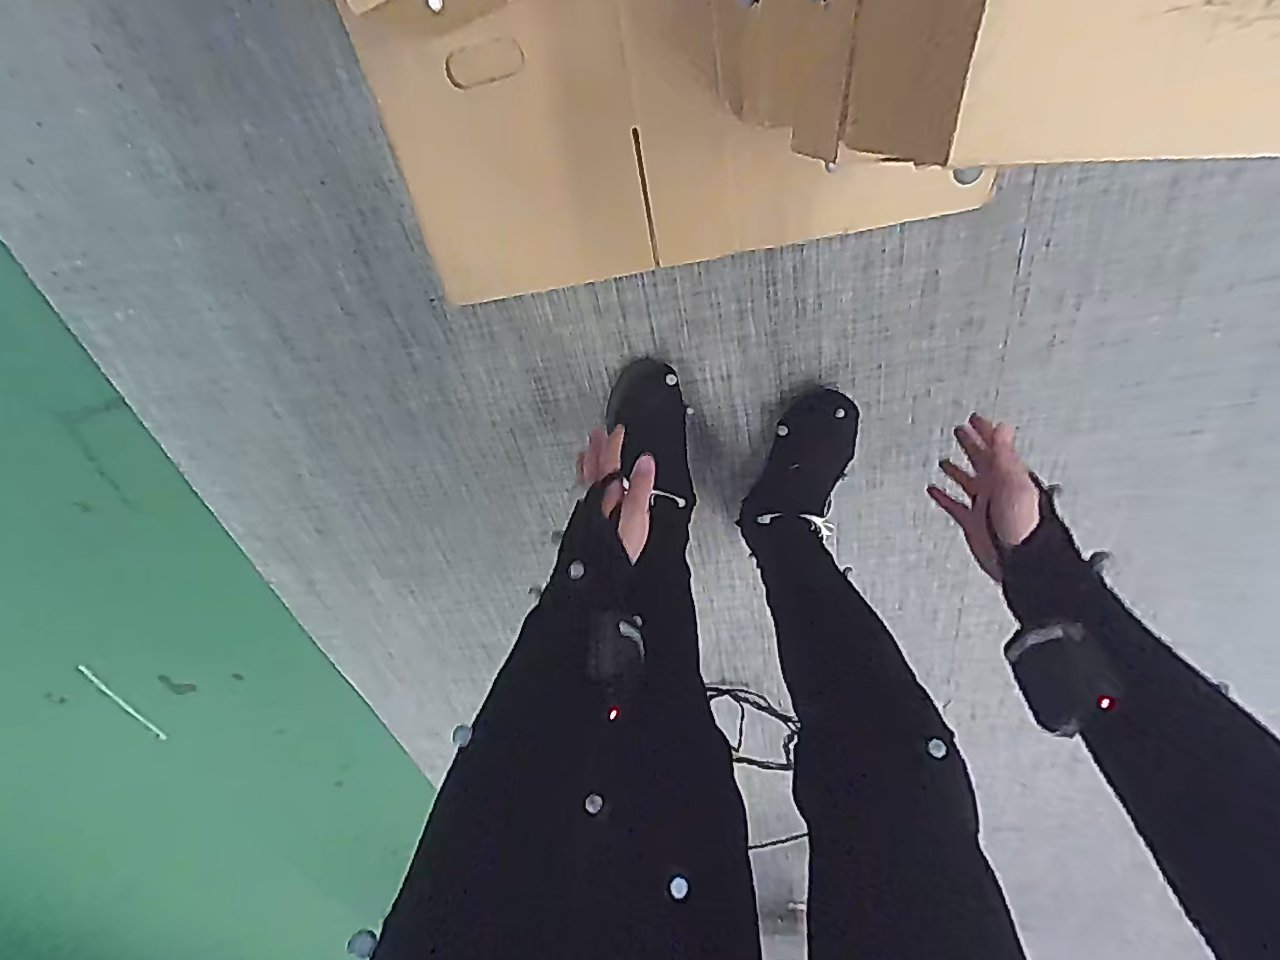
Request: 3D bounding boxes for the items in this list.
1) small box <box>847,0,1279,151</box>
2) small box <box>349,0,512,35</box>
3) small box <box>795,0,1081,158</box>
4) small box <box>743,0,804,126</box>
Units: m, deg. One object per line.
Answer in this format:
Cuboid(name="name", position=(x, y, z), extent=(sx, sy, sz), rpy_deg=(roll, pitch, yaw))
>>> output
Cuboid(name="small box", position=(0.195, -0.235, 0.214), extent=(0.168, 0.176, 0.179), rpy_deg=(1, 123, 5))
Cuboid(name="small box", position=(-0.183, -0.519, 0.452), extent=(0.168, 0.176, 0.179), rpy_deg=(-14, 121, 13))
Cuboid(name="small box", position=(0.204, -0.319, 0.354), extent=(0.168, 0.176, 0.179), rpy_deg=(0, 123, 4))
Cuboid(name="small box", position=(0.182, -0.429, 0.480), extent=(0.168, 0.176, 0.179), rpy_deg=(-3, 122, 7))
